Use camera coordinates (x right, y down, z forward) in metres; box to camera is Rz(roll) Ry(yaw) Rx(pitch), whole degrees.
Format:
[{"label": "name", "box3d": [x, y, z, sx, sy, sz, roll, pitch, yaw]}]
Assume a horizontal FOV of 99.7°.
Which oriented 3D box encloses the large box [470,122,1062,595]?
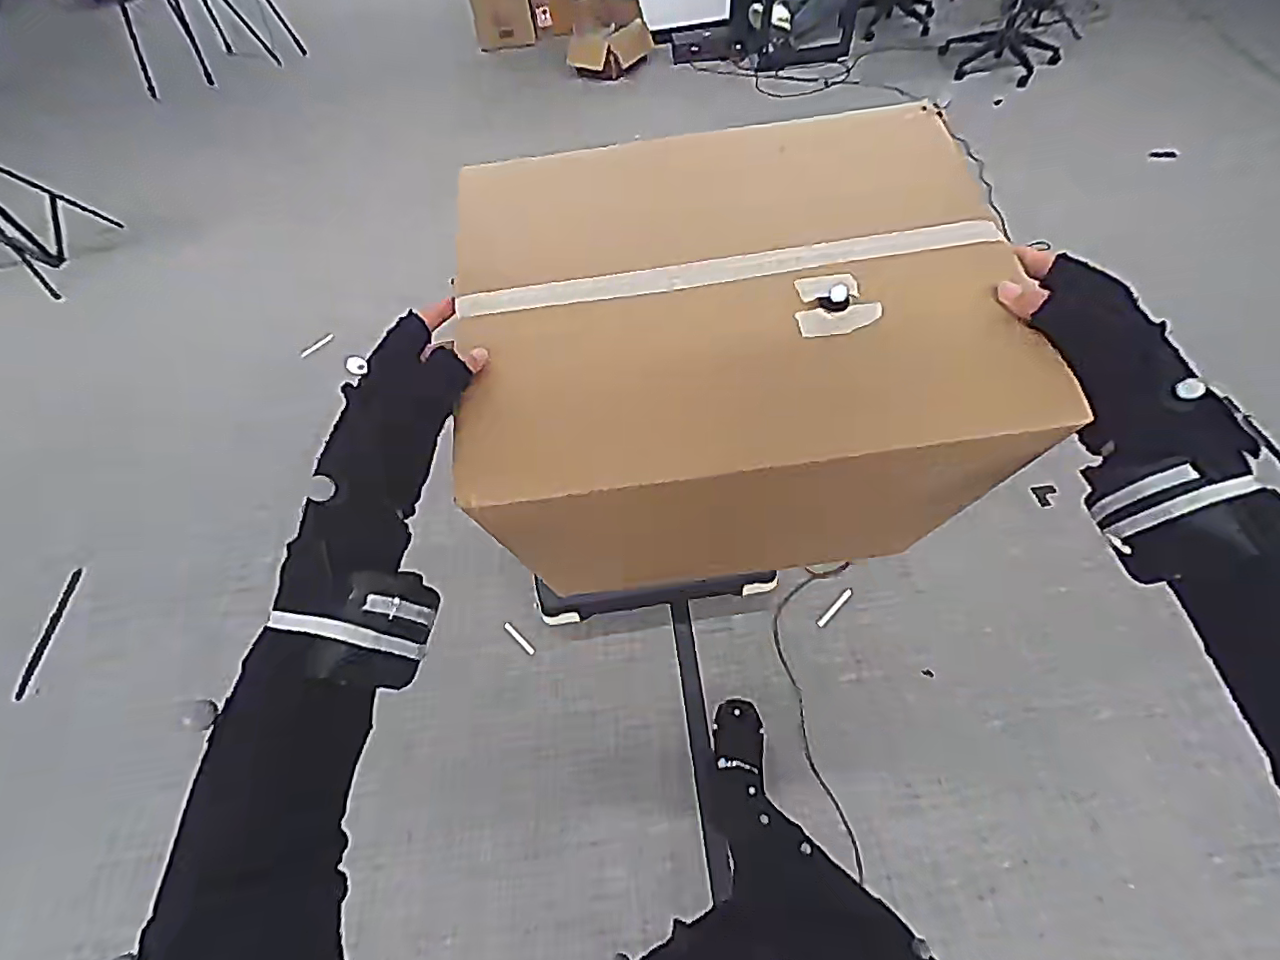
[{"label": "large box", "box3d": [0.073, -0.090, 0.552, 0.408, 0.320, 0.320, -8, 68, 0]}]
